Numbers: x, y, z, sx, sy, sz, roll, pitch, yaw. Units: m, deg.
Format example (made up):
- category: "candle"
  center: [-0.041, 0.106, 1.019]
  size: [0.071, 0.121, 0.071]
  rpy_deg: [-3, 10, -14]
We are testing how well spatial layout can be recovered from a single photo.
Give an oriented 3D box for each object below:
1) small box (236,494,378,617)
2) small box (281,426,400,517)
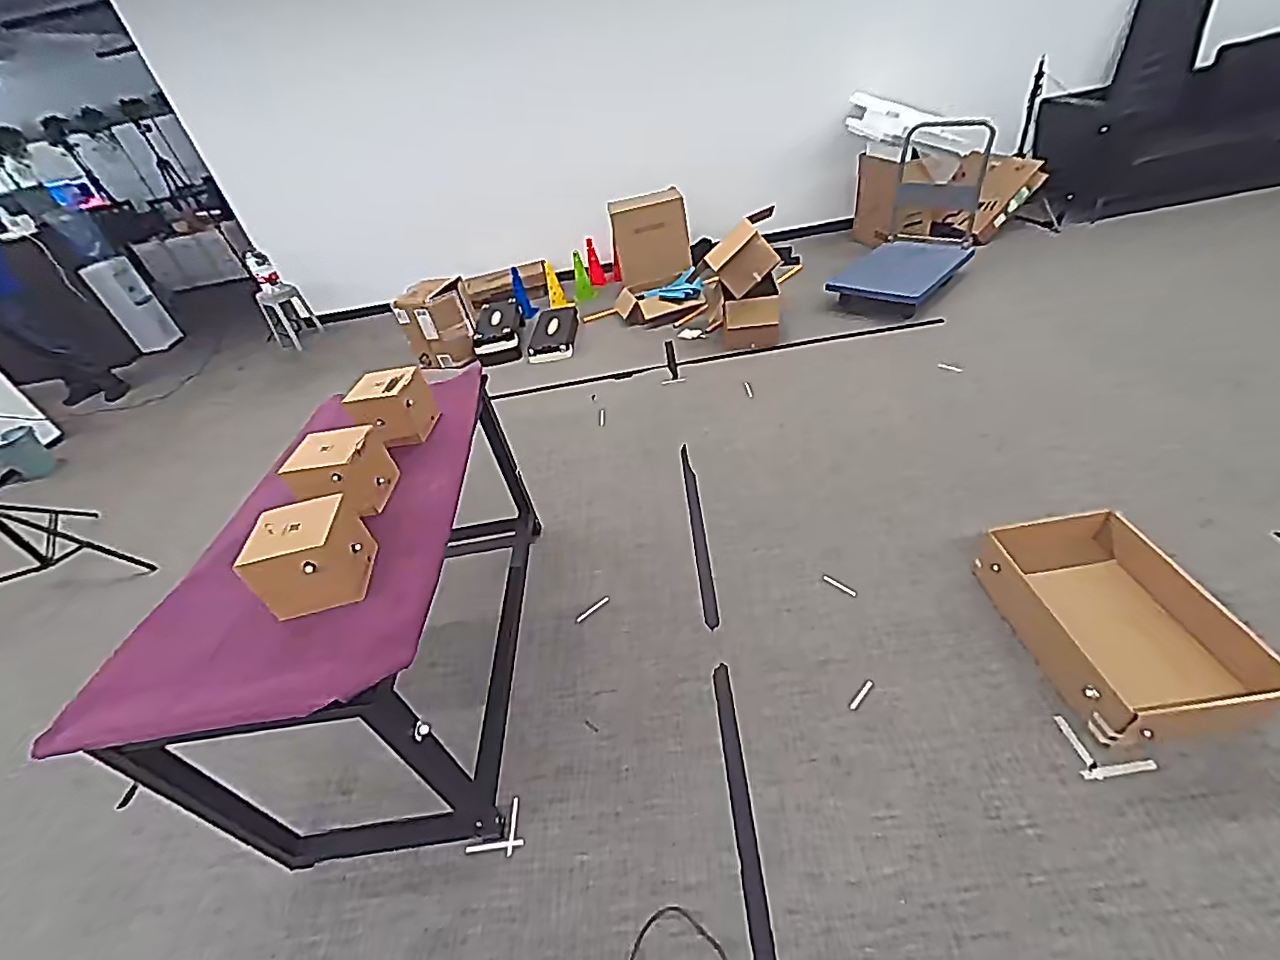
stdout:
- category: "small box"
  center: [-0.683, 0.160, 1.138]
  size: [0.179, 0.176, 0.168]
  rpy_deg: [-14, 38, -3]
- category: "small box"
  center: [-0.747, -0.013, 1.372]
  size: [0.179, 0.176, 0.168]
  rpy_deg: [-8, 39, 5]
